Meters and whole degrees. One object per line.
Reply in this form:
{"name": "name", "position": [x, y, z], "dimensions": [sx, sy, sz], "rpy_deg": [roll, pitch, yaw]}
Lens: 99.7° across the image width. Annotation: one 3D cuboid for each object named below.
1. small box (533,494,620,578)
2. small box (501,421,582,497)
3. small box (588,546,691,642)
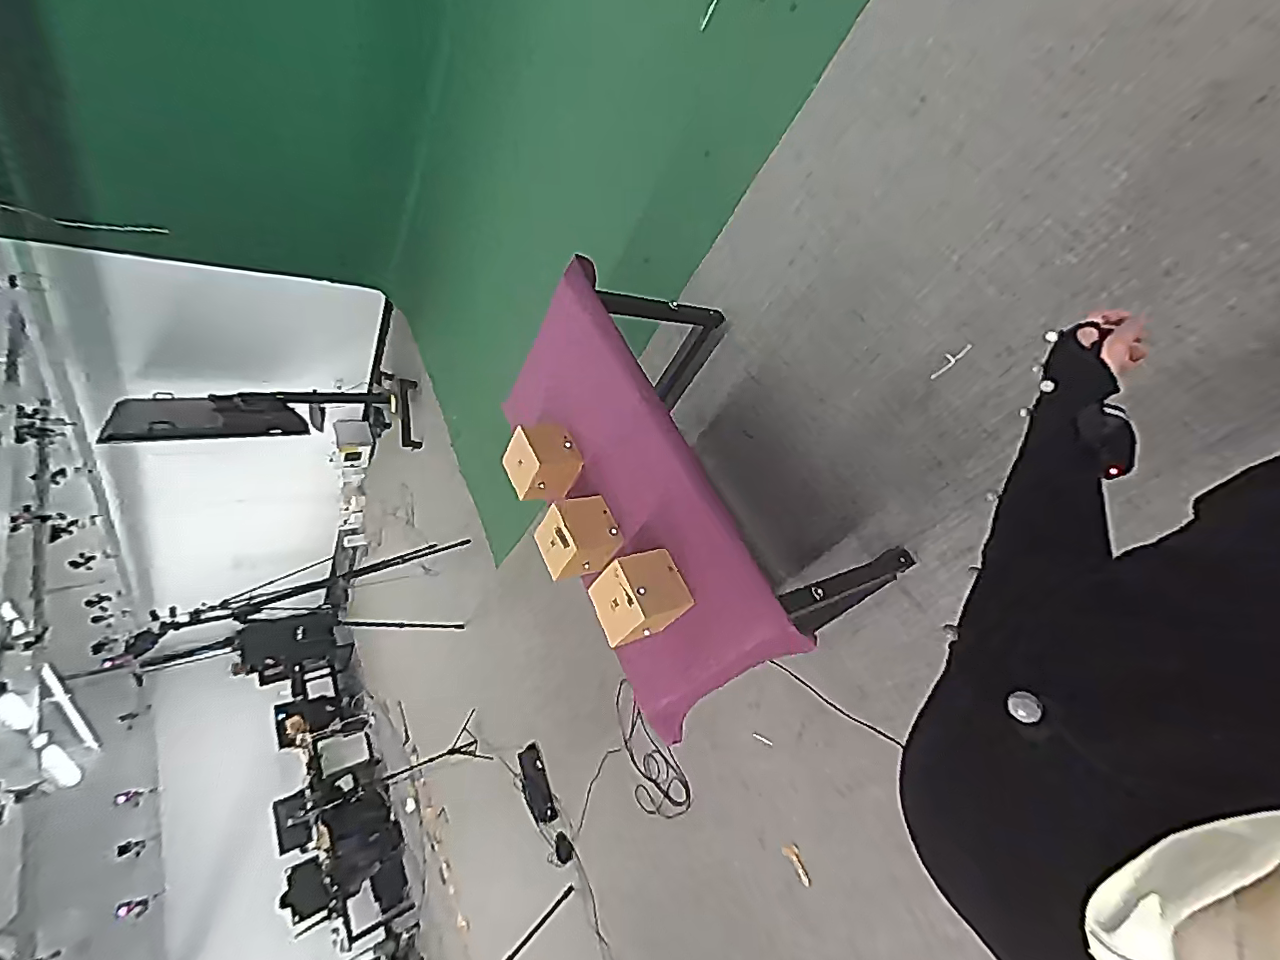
{"name": "small box", "position": [-0.181, 0.157, 1.575], "dimensions": [0.179, 0.176, 0.168], "rpy_deg": [-53, 56, 40]}
{"name": "small box", "position": [-0.307, -0.069, 1.693], "dimensions": [0.179, 0.176, 0.168], "rpy_deg": [-53, 58, 38]}
{"name": "small box", "position": [0.000, 0.287, 1.379], "dimensions": [0.179, 0.176, 0.168], "rpy_deg": [-51, 57, 41]}
